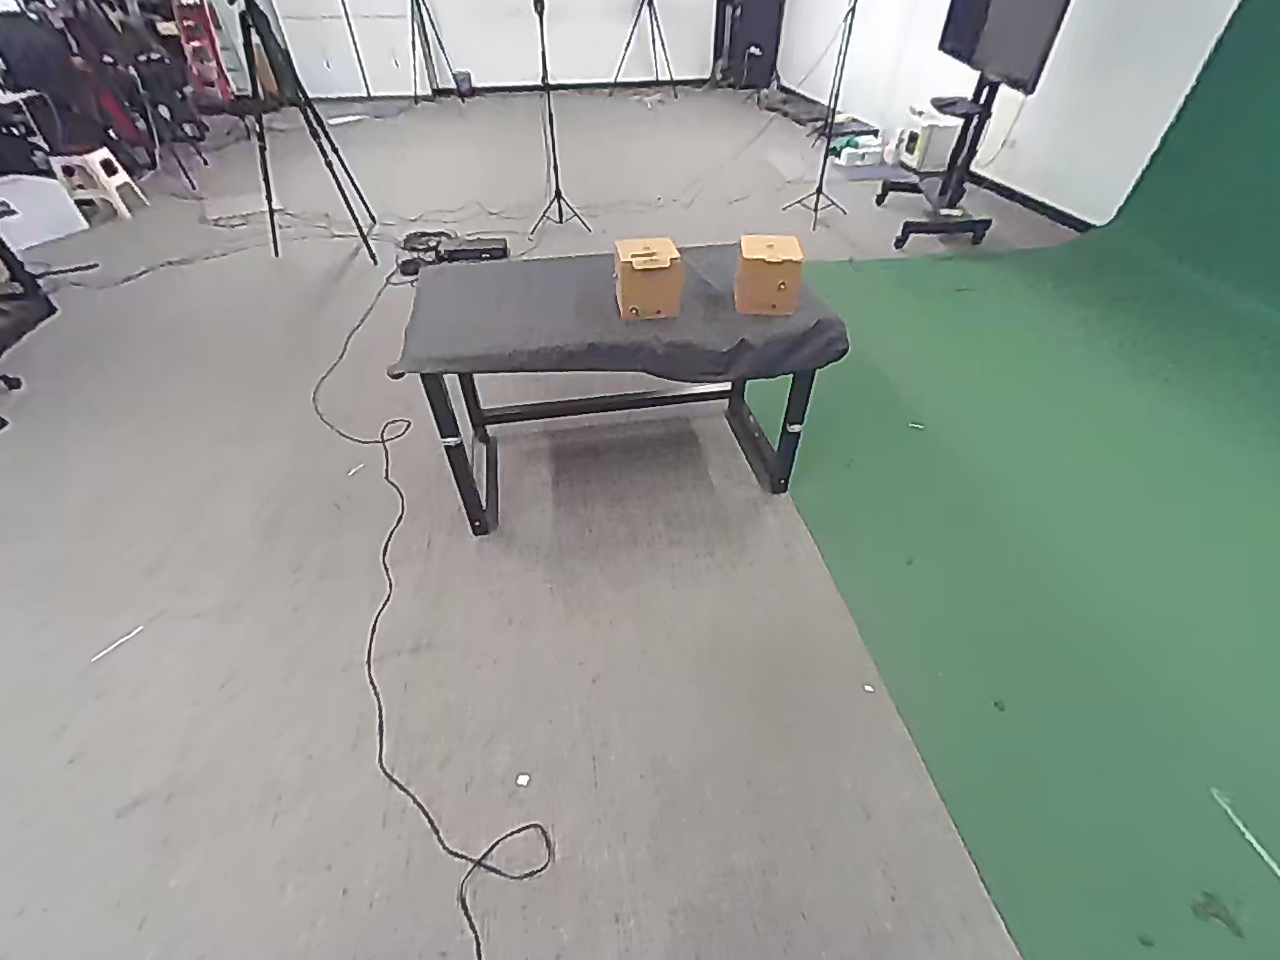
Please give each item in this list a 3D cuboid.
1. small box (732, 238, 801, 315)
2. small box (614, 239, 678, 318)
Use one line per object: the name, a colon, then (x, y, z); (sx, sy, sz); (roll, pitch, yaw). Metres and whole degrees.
small box: (0.363, -0.595, 1.584); (0.168, 0.176, 0.179); (3, 42, 3)
small box: (0.016, -0.581, 1.570); (0.168, 0.176, 0.179); (-6, 43, -6)
